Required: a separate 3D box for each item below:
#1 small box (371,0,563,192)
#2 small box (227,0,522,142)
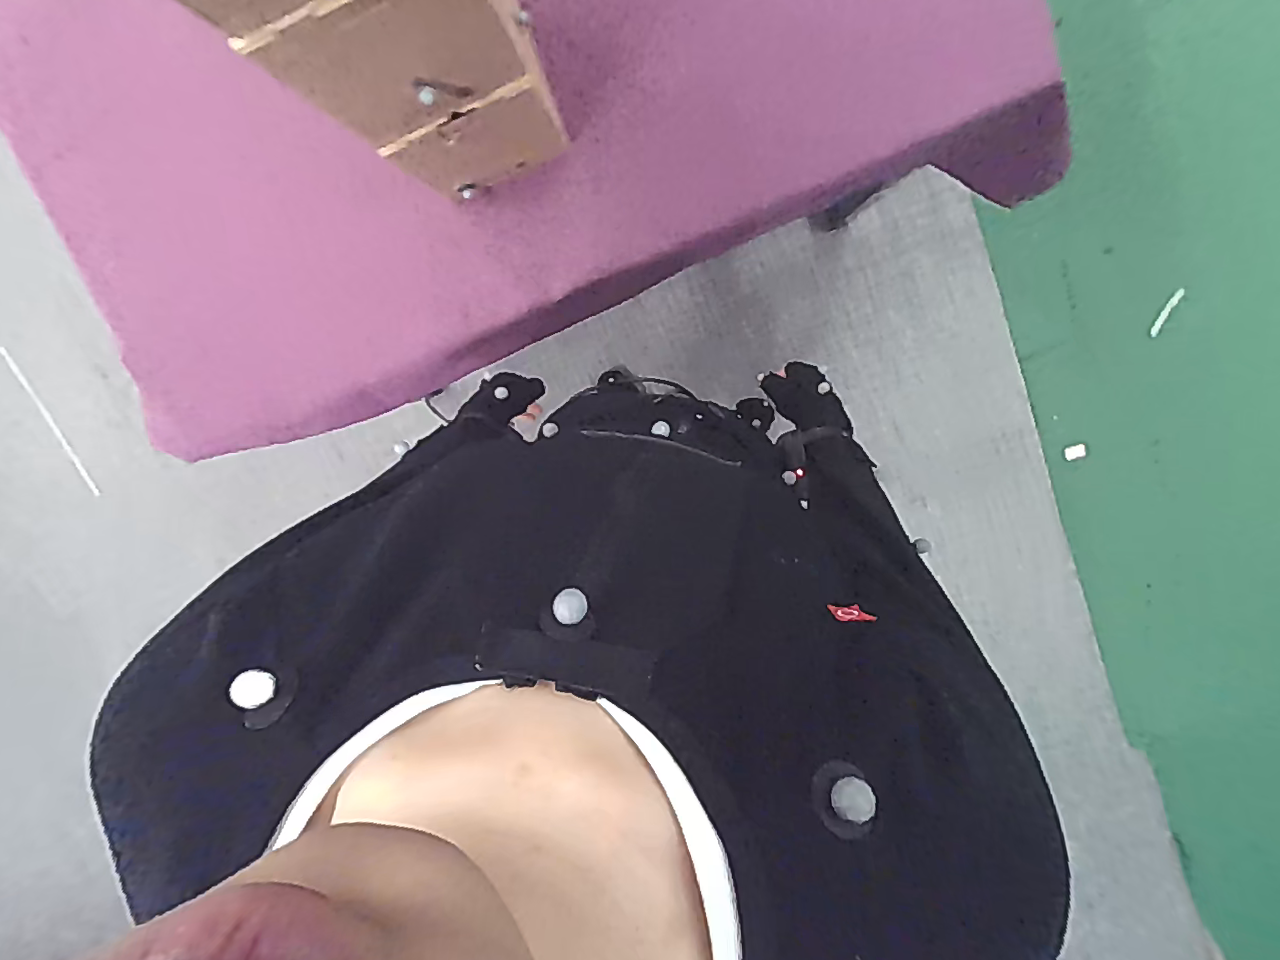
[{"bbox_3d":[-0.198,-0.435,0.576,0.168,0.176,0.179,-20,99,8],"label":"small box"},{"bbox_3d":[-0.214,-0.407,0.415,0.168,0.176,0.179,-20,100,9],"label":"small box"}]
